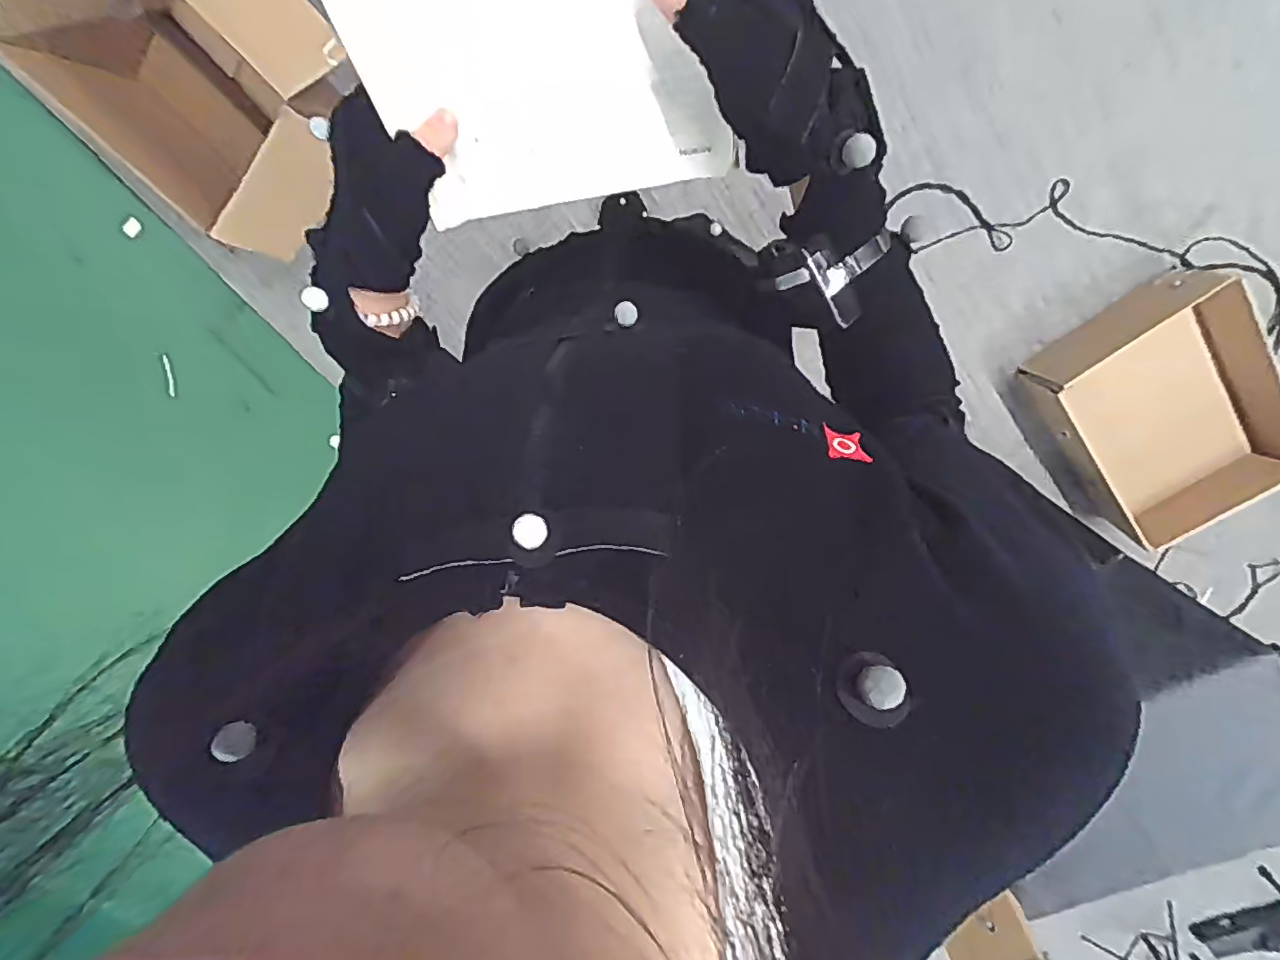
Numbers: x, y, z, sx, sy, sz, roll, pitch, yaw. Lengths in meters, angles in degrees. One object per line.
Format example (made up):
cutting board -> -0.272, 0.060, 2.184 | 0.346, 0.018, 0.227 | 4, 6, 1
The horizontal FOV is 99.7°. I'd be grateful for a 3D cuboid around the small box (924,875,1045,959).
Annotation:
small box -> 0.754, 0.996, 1.173 | 0.168, 0.176, 0.179 | -32, 112, 16
